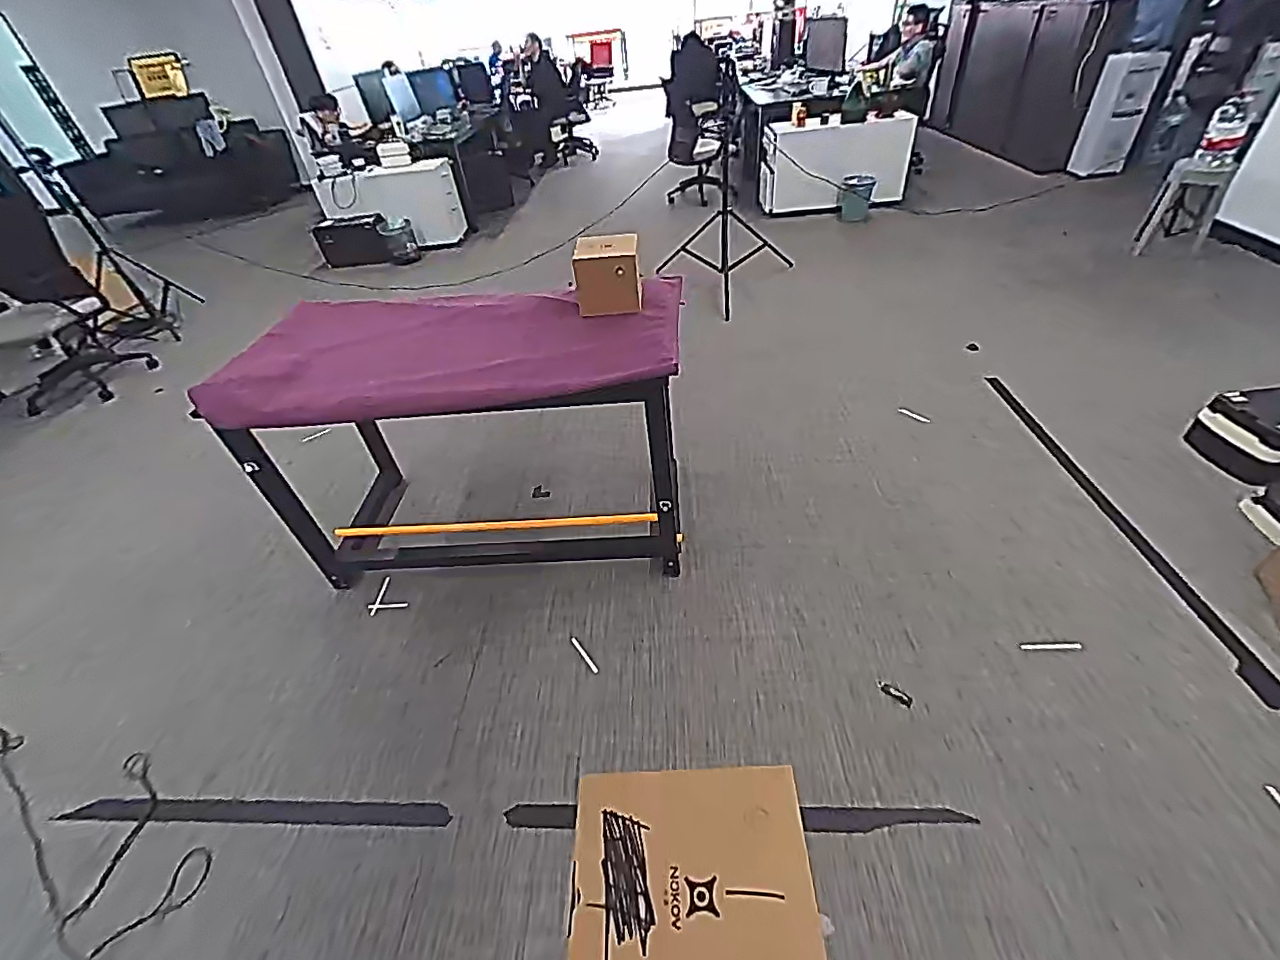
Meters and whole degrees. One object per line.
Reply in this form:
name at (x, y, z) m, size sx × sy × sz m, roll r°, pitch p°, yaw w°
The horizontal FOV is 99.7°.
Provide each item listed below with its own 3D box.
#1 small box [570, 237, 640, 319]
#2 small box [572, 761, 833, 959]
small box at (-0.094, -0.580, 1.561) m, size 0.179 × 0.176 × 0.168 m, roll -3°, pitch 42°, yaw 4°
small box at (0.052, 0.346, 0.436) m, size 0.179 × 0.176 × 0.168 m, roll -7°, pitch 44°, yaw 6°
